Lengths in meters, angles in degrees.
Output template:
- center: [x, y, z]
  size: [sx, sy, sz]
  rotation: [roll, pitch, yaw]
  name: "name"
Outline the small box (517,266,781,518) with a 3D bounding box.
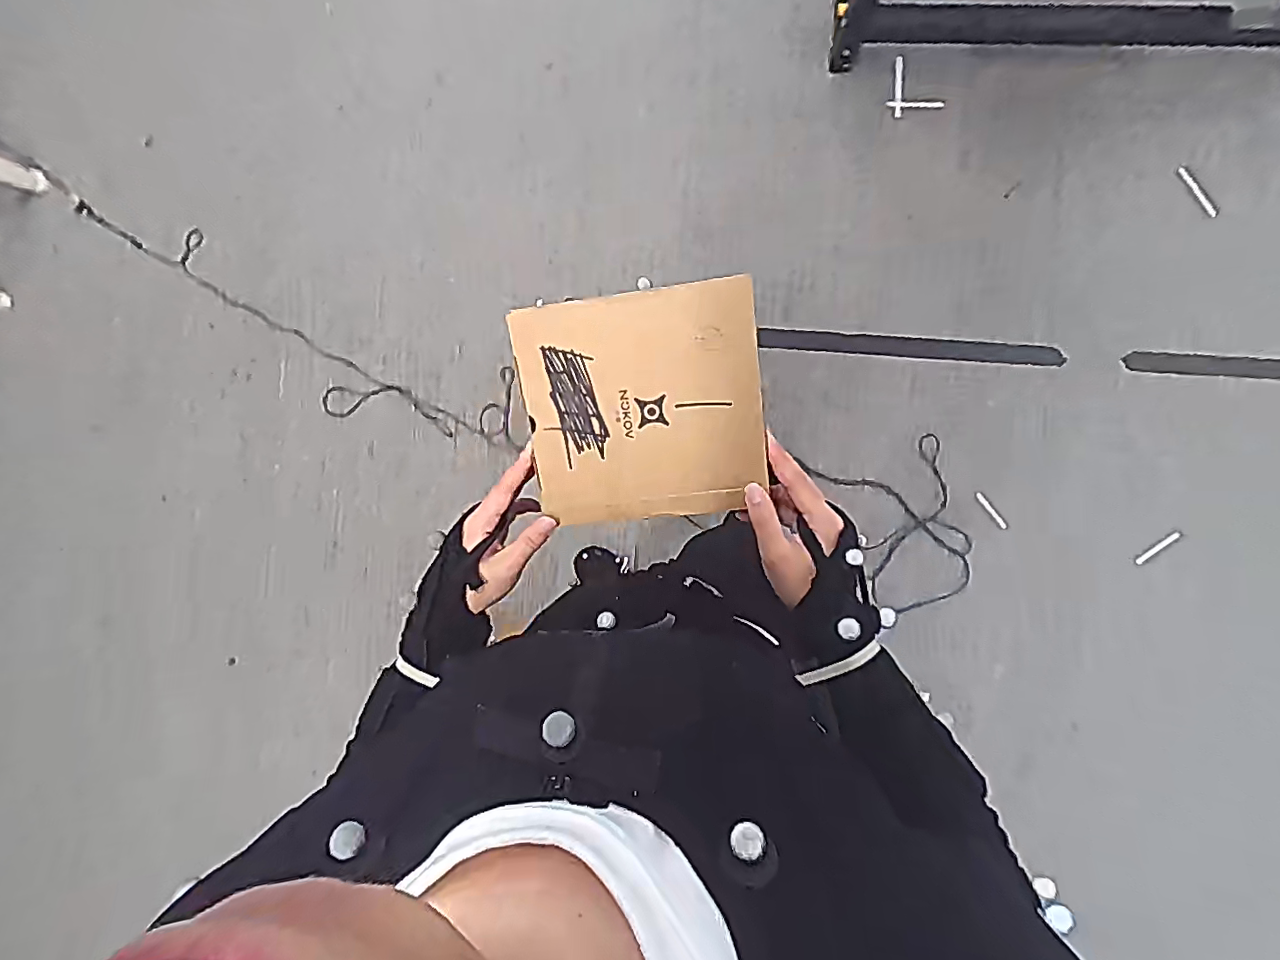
- center: [0.017, -0.075, 0.460]
  size: [0.179, 0.176, 0.168]
  rotation: [-6, 105, 7]
  name: "small box"
